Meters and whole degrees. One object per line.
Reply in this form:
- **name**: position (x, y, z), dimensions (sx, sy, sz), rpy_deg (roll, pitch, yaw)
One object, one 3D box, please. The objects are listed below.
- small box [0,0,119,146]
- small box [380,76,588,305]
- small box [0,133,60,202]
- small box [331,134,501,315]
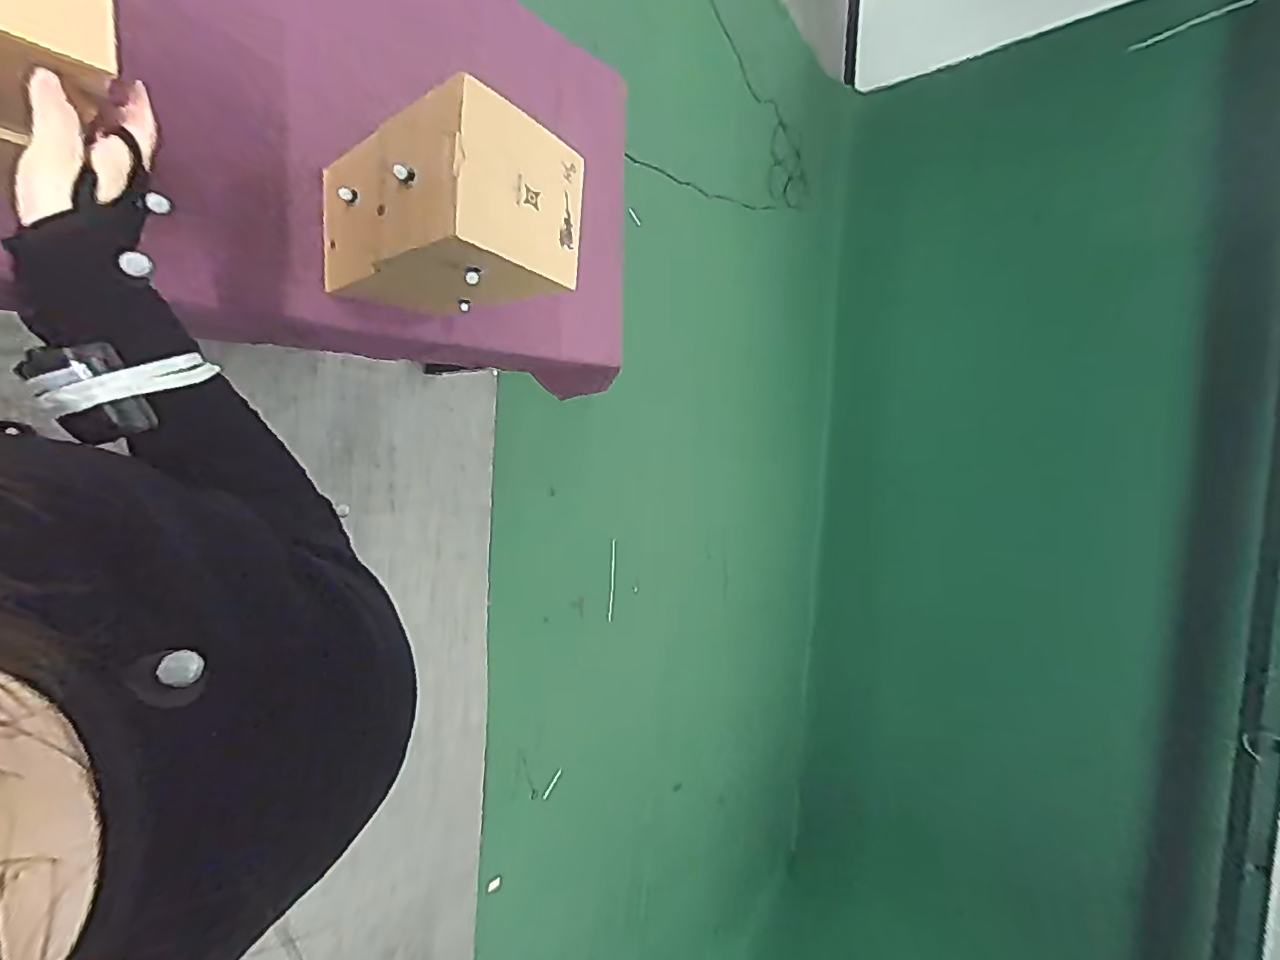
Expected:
- **small box**: position (-0.444, -0.334, 0.320), dimensions (0.179, 0.176, 0.168), rpy_deg (-4, 98, -52)
- **small box**: position (-0.187, -0.319, 0.646), dimensions (0.179, 0.176, 0.168), rpy_deg (4, 91, -51)
- **small box**: position (-0.575, -0.345, 0.418), dimensions (0.168, 0.176, 0.179), rpy_deg (-2, 95, -52)
- **small box**: position (-0.310, -0.334, 0.753), dimensions (0.179, 0.176, 0.168), rpy_deg (-4, 97, -52)
